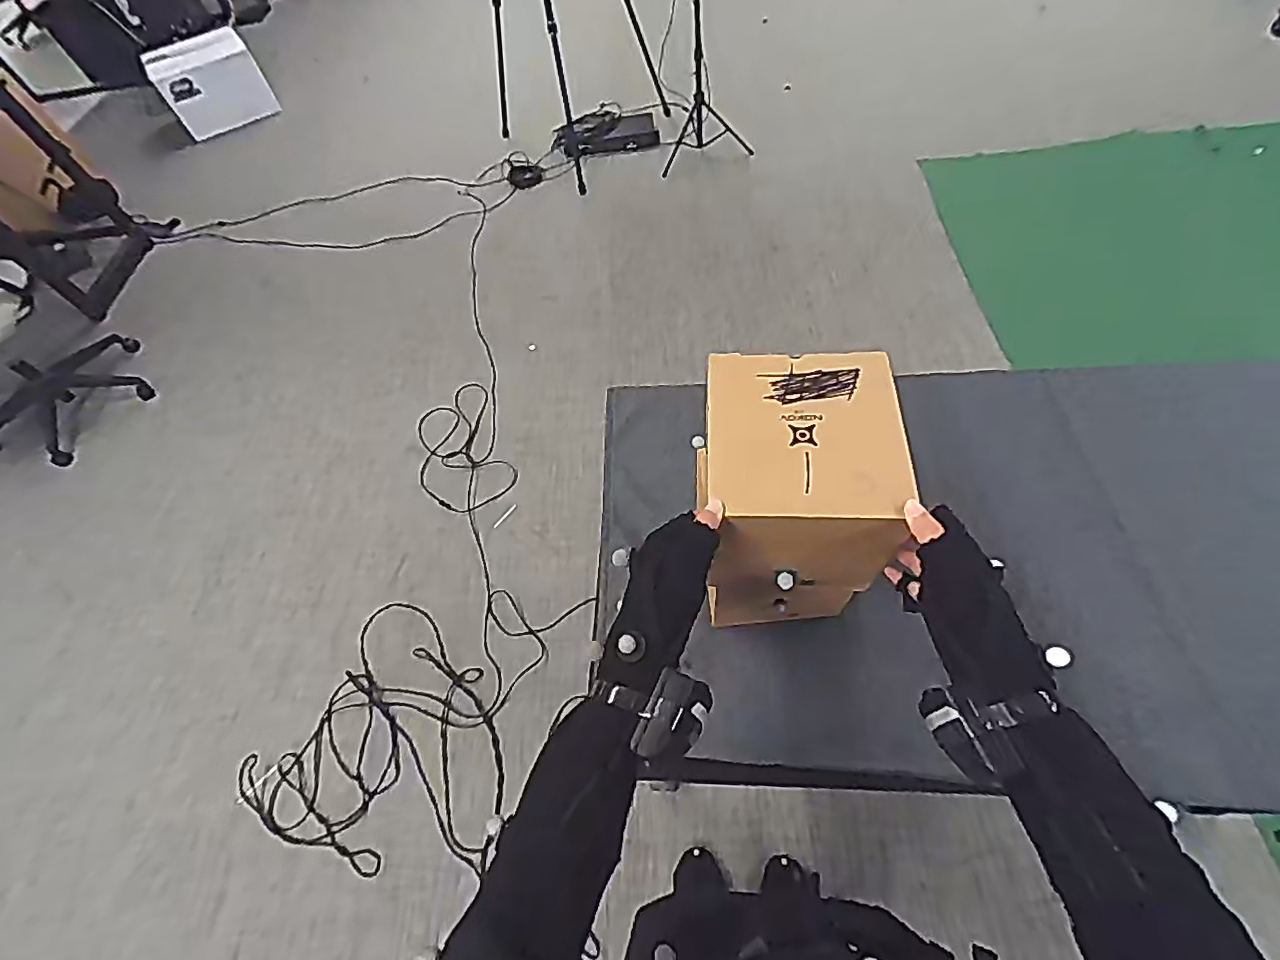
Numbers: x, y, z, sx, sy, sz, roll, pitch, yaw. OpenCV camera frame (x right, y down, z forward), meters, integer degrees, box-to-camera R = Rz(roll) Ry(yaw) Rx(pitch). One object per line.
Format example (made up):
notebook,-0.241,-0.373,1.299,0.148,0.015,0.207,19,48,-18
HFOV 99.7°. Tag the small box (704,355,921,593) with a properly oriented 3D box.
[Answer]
small box,0.149,-0.003,0.534,0.168,0.176,0.179,1,60,7

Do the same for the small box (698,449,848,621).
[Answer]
small box,0.165,0.070,0.681,0.168,0.176,0.179,-6,57,2
